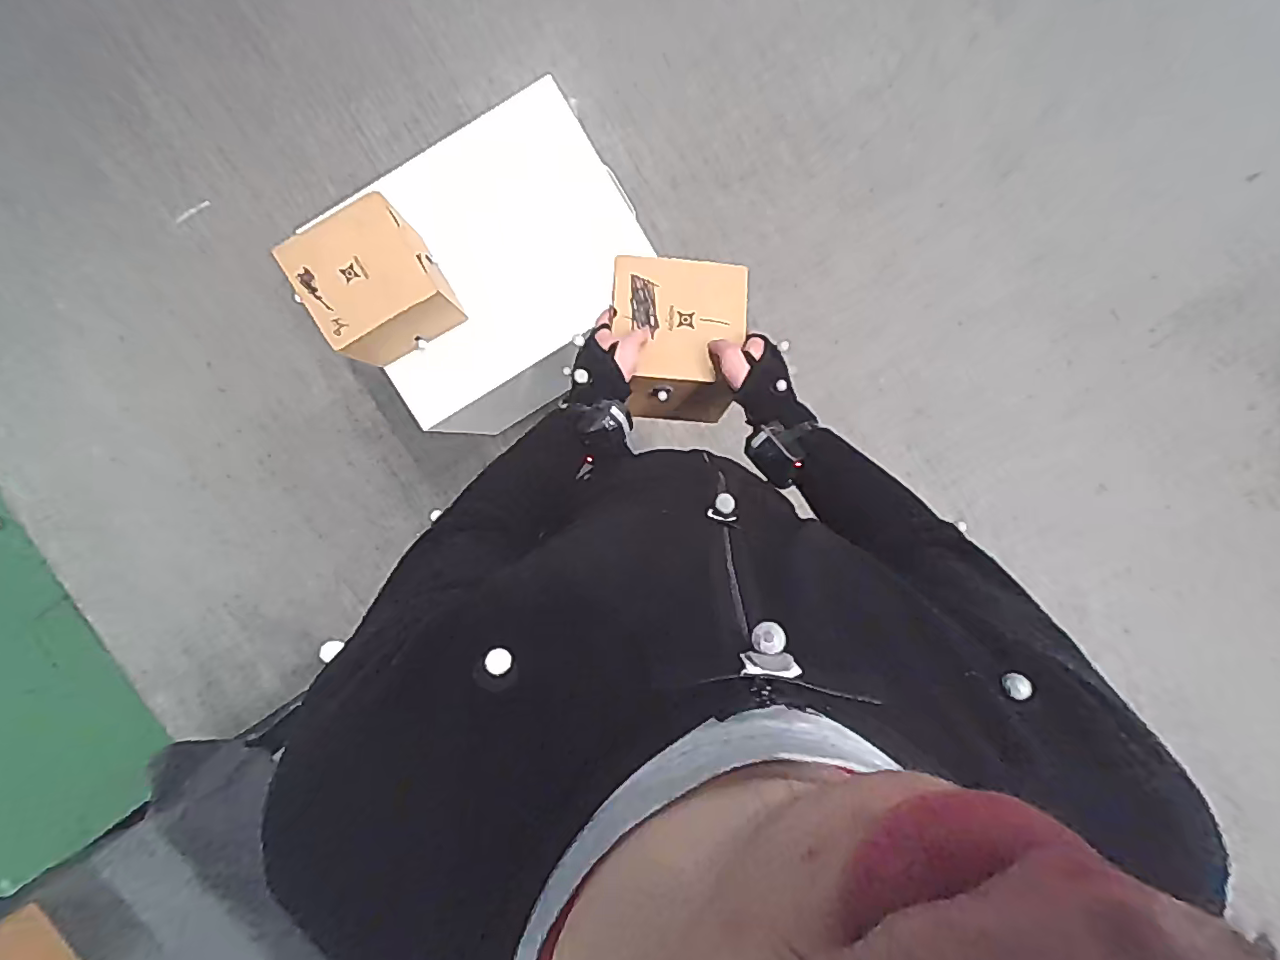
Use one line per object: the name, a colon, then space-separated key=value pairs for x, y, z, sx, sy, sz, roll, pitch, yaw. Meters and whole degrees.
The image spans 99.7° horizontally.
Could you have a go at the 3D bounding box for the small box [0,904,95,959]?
small box: x=-0.963 y=0.767 z=0.780 sx=0.168 sy=0.176 sz=0.179 roll=-30 pitch=96 yaw=2

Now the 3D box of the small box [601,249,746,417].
small box: x=0.039 y=-0.193 z=0.754 sx=0.179 sy=0.176 sz=0.168 roll=5 pitch=80 yaw=-4

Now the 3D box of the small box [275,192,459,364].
small box: x=-0.404 y=-0.301 z=0.843 sx=0.179 sy=0.176 sz=0.168 roll=-30 pitch=95 yaw=-1
